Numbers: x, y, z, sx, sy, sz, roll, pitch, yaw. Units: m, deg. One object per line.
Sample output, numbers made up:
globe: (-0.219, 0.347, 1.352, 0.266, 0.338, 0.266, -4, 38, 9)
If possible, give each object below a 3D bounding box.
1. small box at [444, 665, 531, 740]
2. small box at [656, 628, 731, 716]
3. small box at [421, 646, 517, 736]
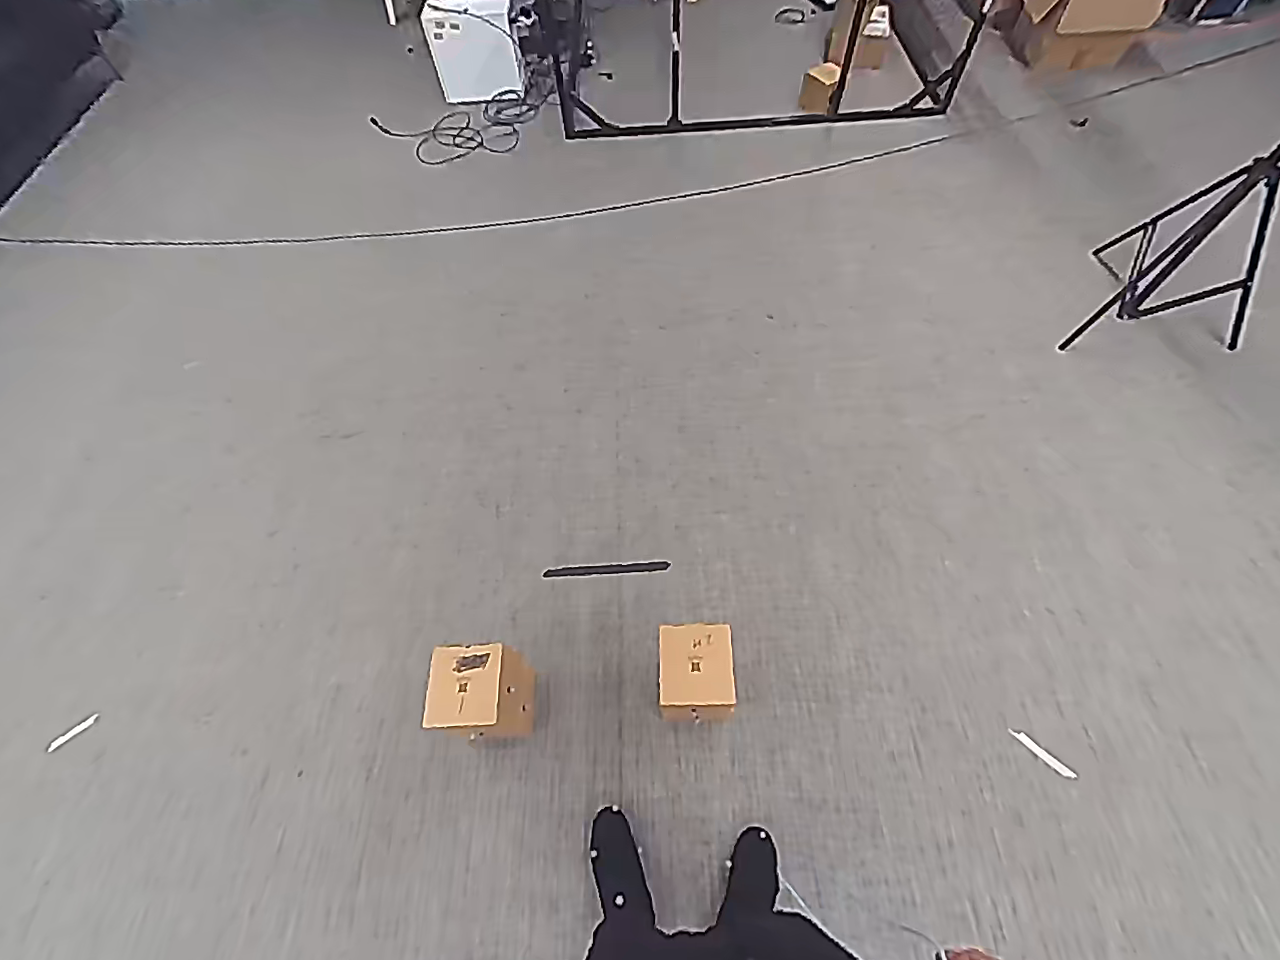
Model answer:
small box: (-0.391, 0.586, 1.421, 0.179, 0.176, 0.168, -4, 60, 2)
small box: (0.123, 0.457, 1.278, 0.168, 0.176, 0.179, -1, 60, 2)
small box: (-0.394, 0.502, 1.280, 0.168, 0.176, 0.179, -4, 61, 2)
